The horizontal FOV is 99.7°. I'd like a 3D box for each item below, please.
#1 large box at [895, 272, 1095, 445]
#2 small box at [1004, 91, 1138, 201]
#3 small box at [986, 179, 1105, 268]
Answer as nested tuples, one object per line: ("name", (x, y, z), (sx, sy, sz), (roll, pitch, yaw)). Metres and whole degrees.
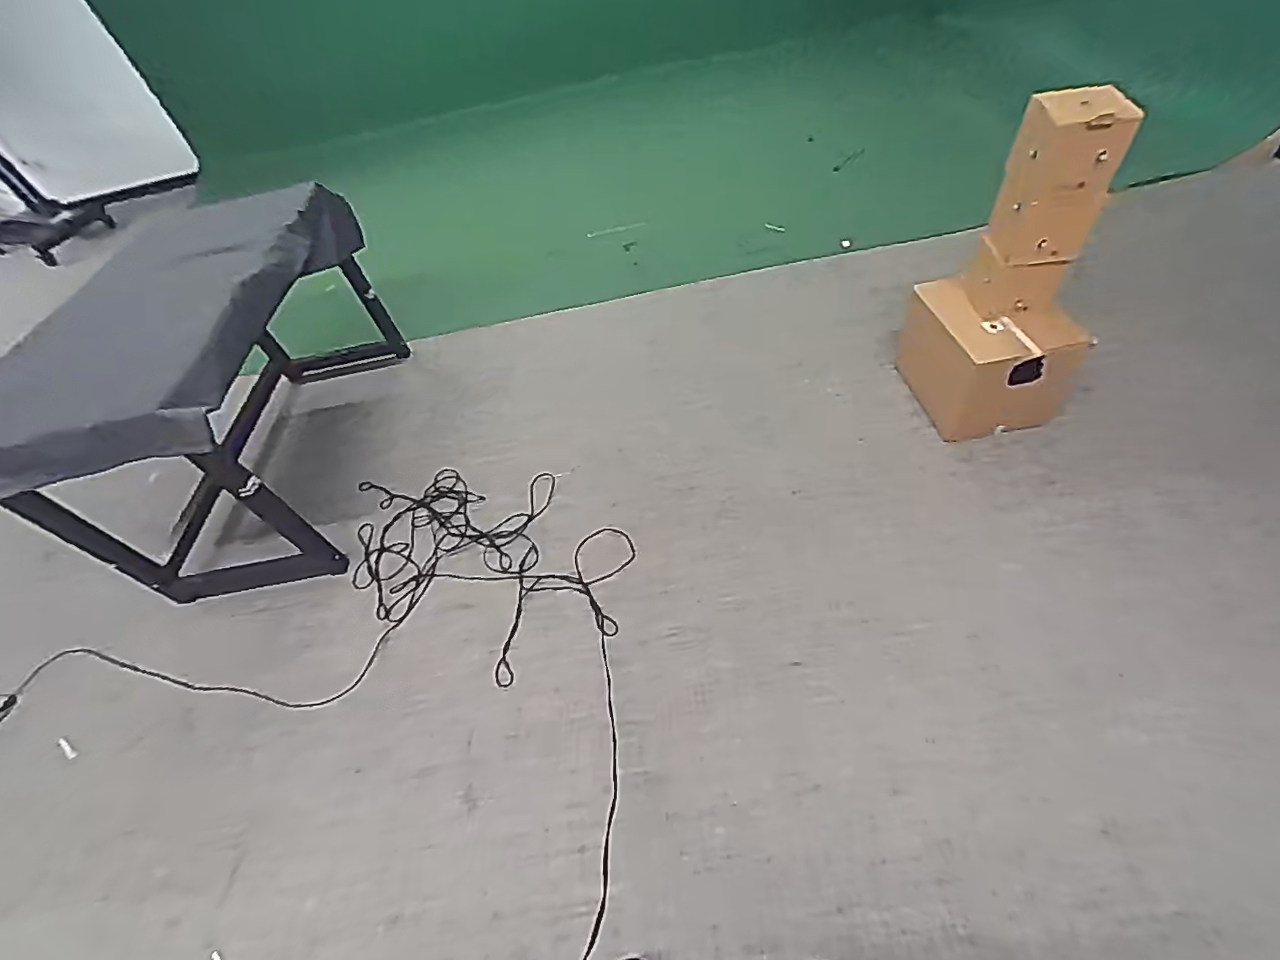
("large box", (1.048, -0.374, 1.668), (0.320, 0.320, 0.408), (-12, 51, 3))
("small box", (0.989, -0.771, 1.261), (0.168, 0.176, 0.179), (-1, 51, 9))
("small box", (1.022, -0.669, 1.384), (0.168, 0.176, 0.179), (-2, 52, 10))
